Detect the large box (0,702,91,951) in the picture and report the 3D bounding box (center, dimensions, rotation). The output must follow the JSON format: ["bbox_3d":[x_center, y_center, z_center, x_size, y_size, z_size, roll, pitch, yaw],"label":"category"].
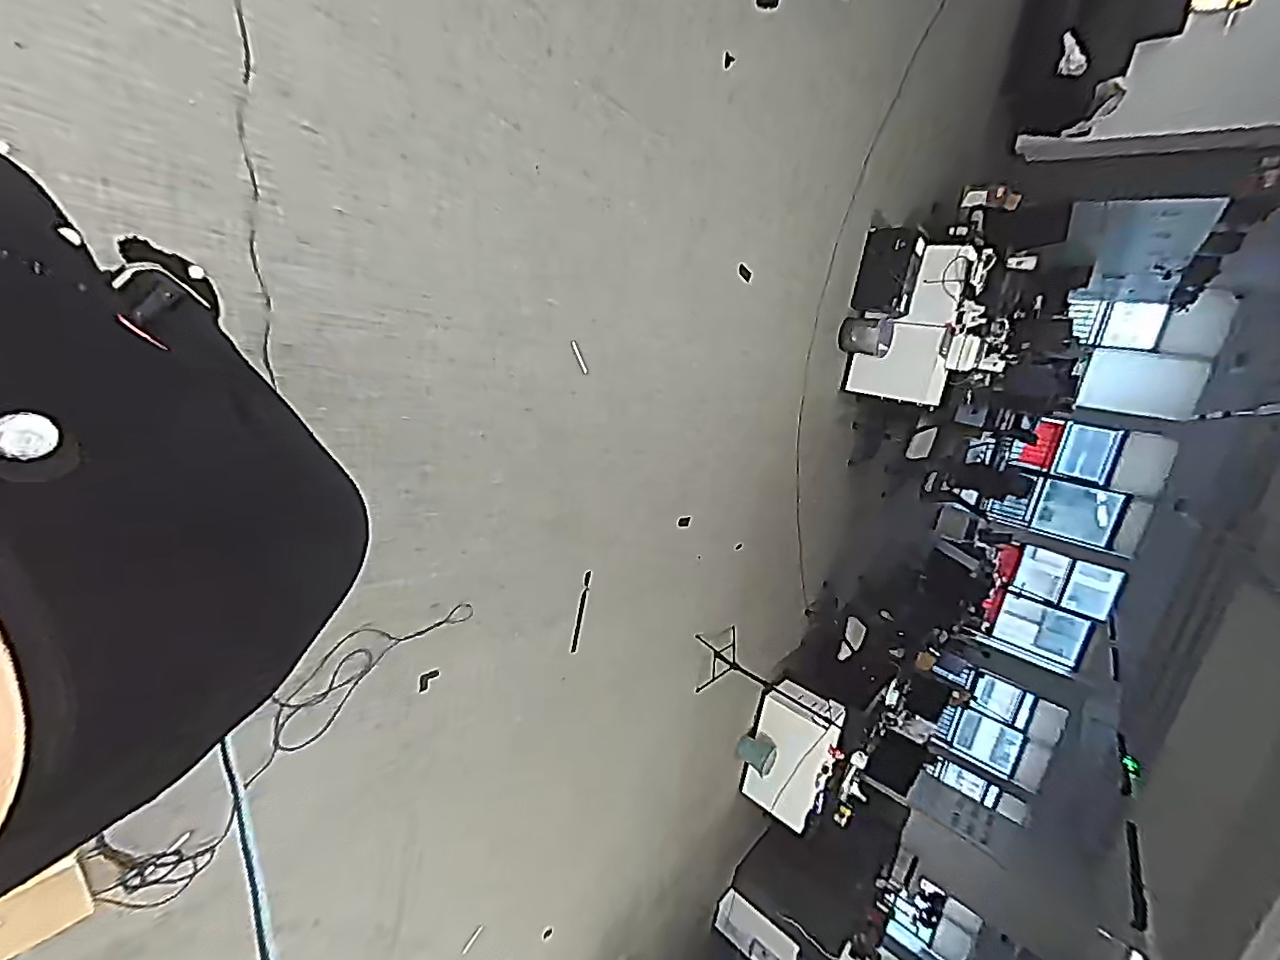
[{"bbox_3d":[-1.302,0.679,0.948,0.408,0.320,0.320,-17,119,-47],"label":"large box"}]
